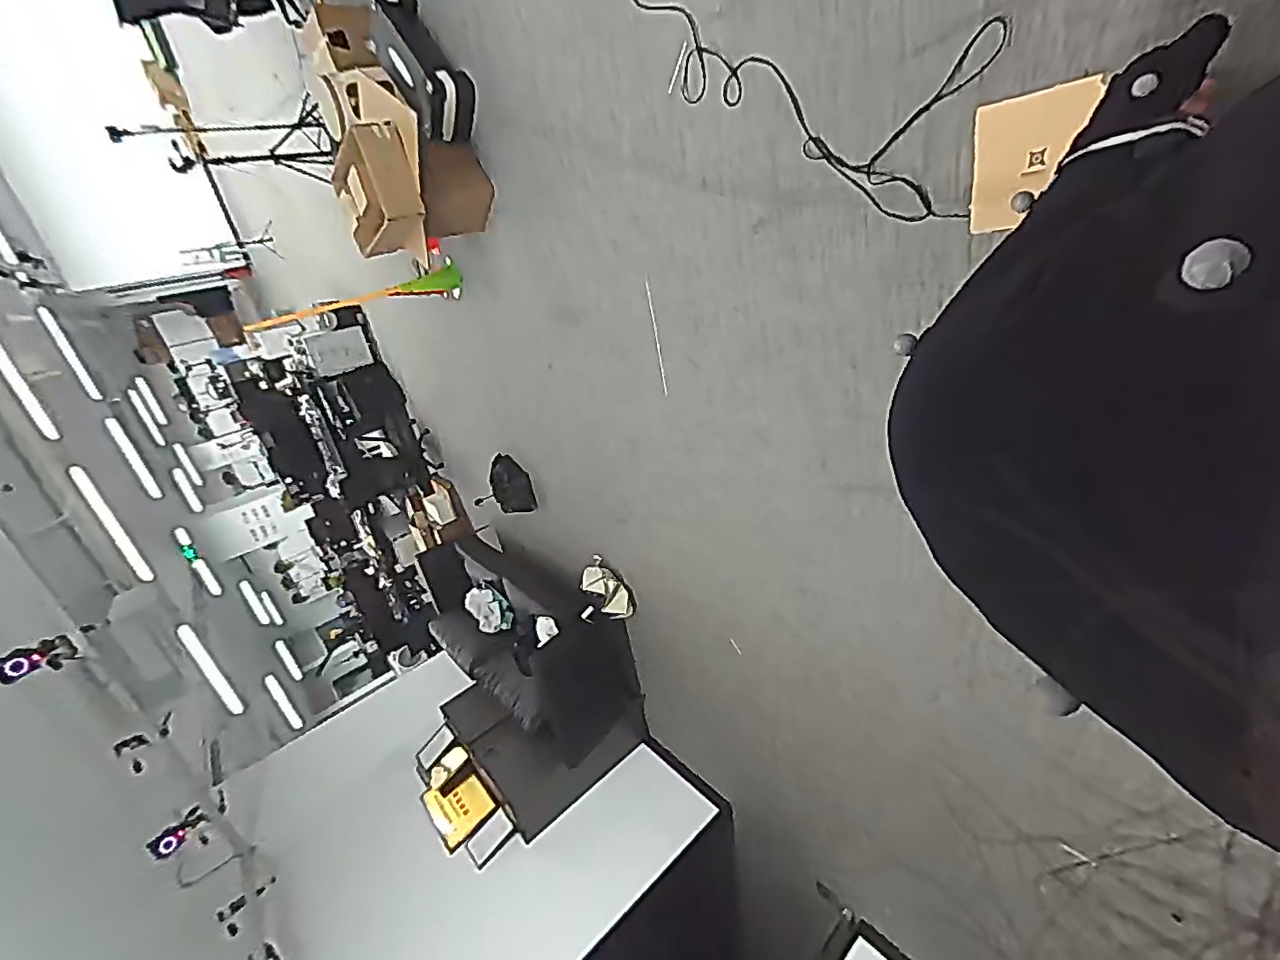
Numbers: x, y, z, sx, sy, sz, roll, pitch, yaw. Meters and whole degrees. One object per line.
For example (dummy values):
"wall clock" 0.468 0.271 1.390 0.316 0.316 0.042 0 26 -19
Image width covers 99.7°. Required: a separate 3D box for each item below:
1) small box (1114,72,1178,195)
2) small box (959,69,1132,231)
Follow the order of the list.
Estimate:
"small box" 0.849 -0.626 0.996 0.168 0.176 0.179 21 131 45
"small box" 0.609 -0.492 0.817 0.168 0.176 0.179 18 130 47
